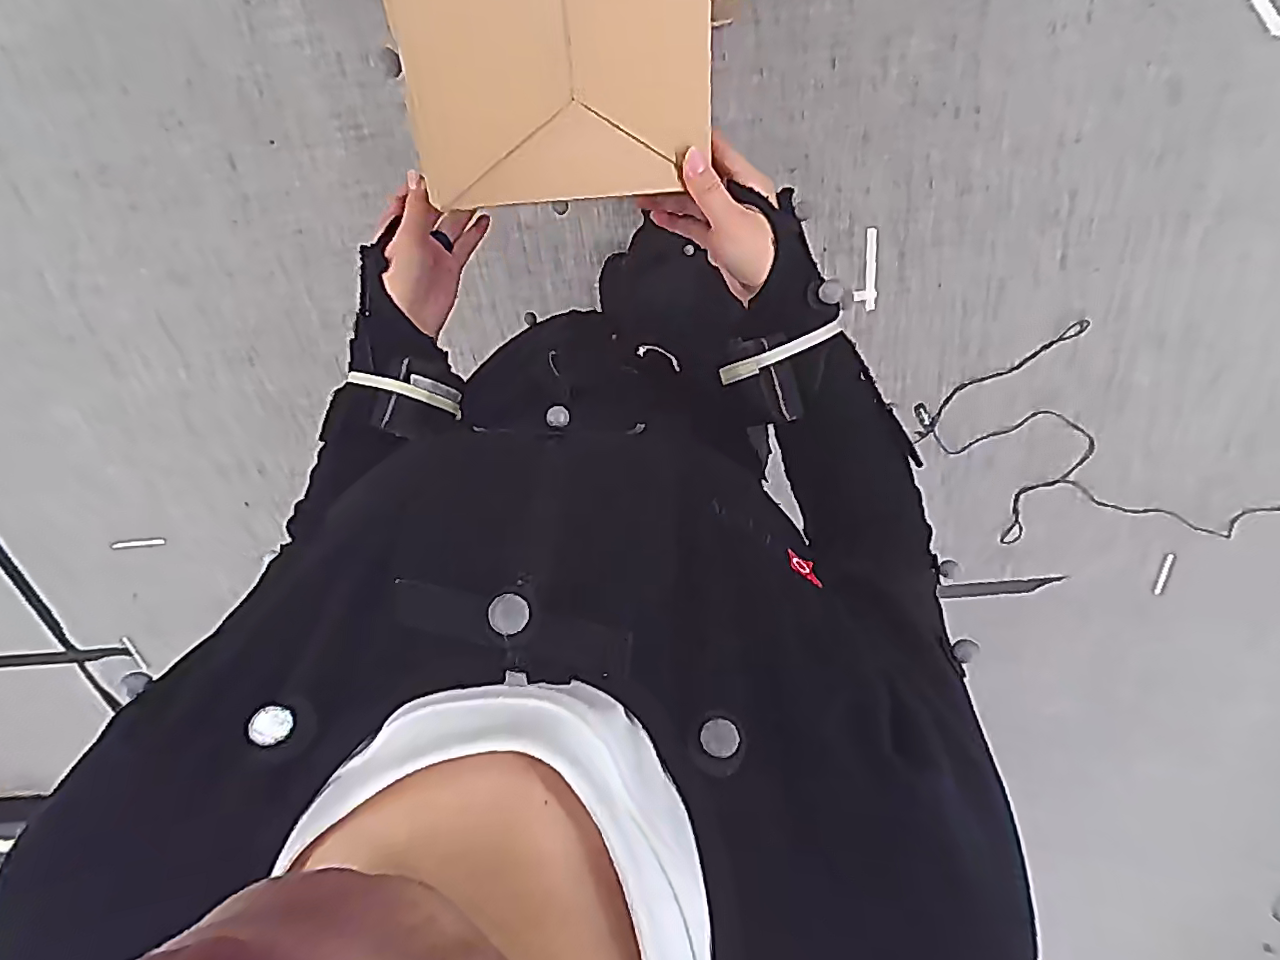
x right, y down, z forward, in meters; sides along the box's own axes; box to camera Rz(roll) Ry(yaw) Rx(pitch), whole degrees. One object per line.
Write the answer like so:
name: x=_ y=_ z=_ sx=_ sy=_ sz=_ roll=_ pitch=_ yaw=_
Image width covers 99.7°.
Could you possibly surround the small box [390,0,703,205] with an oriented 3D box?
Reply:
small box: x=-0.067 y=-0.285 z=0.366 sx=0.179 sy=0.176 sz=0.168 roll=-13 pitch=121 yaw=-16
